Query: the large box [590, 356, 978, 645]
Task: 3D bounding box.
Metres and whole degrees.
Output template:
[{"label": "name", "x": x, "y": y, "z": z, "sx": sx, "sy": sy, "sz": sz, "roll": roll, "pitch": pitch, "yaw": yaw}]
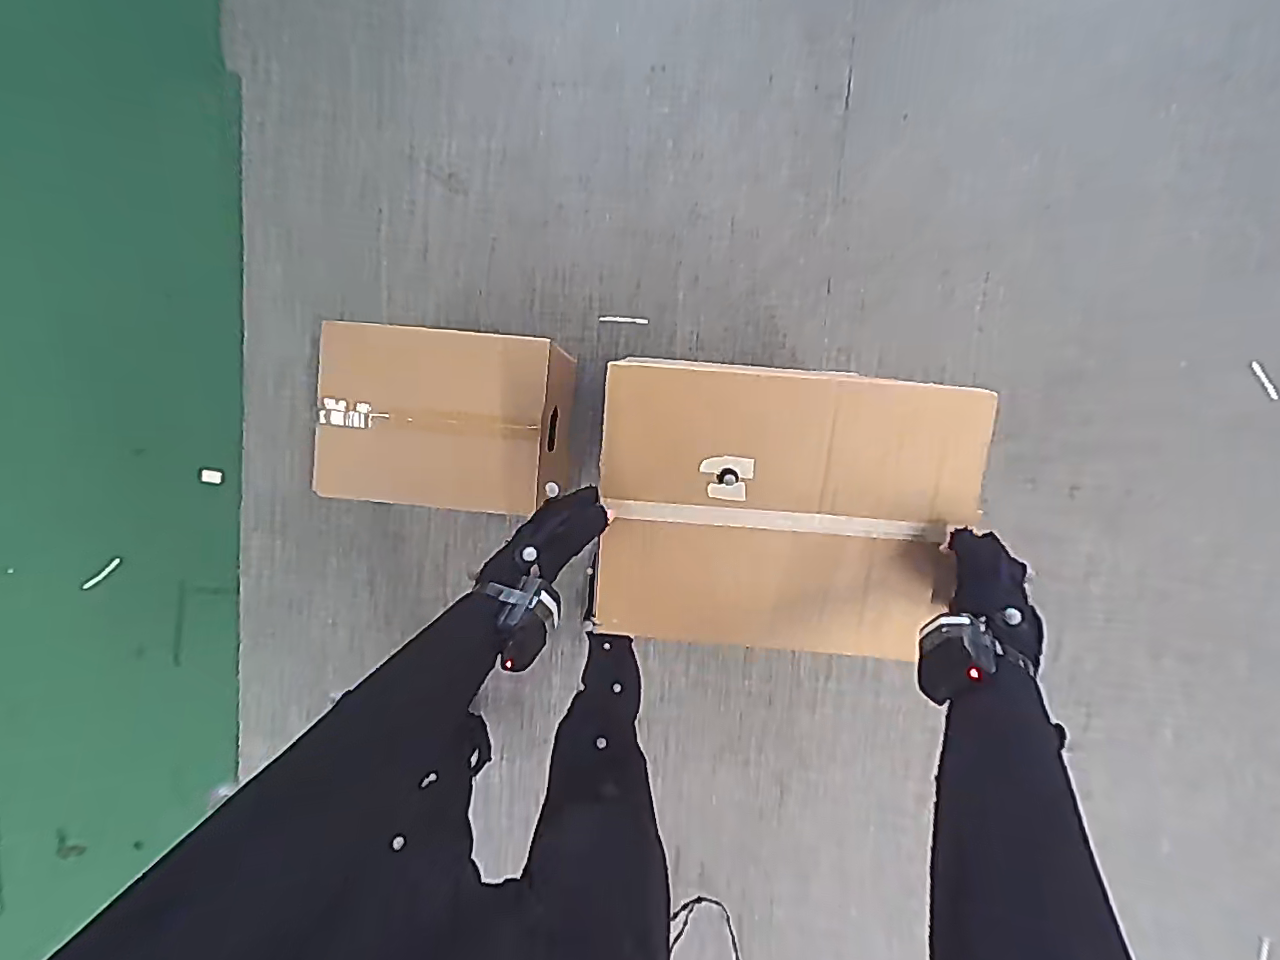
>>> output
[{"label": "large box", "x": 0.156, "y": -0.003, "z": 0.746, "sx": 0.408, "sy": 0.320, "sz": 0.320, "roll": 5, "pitch": 103, "yaw": 3}]
